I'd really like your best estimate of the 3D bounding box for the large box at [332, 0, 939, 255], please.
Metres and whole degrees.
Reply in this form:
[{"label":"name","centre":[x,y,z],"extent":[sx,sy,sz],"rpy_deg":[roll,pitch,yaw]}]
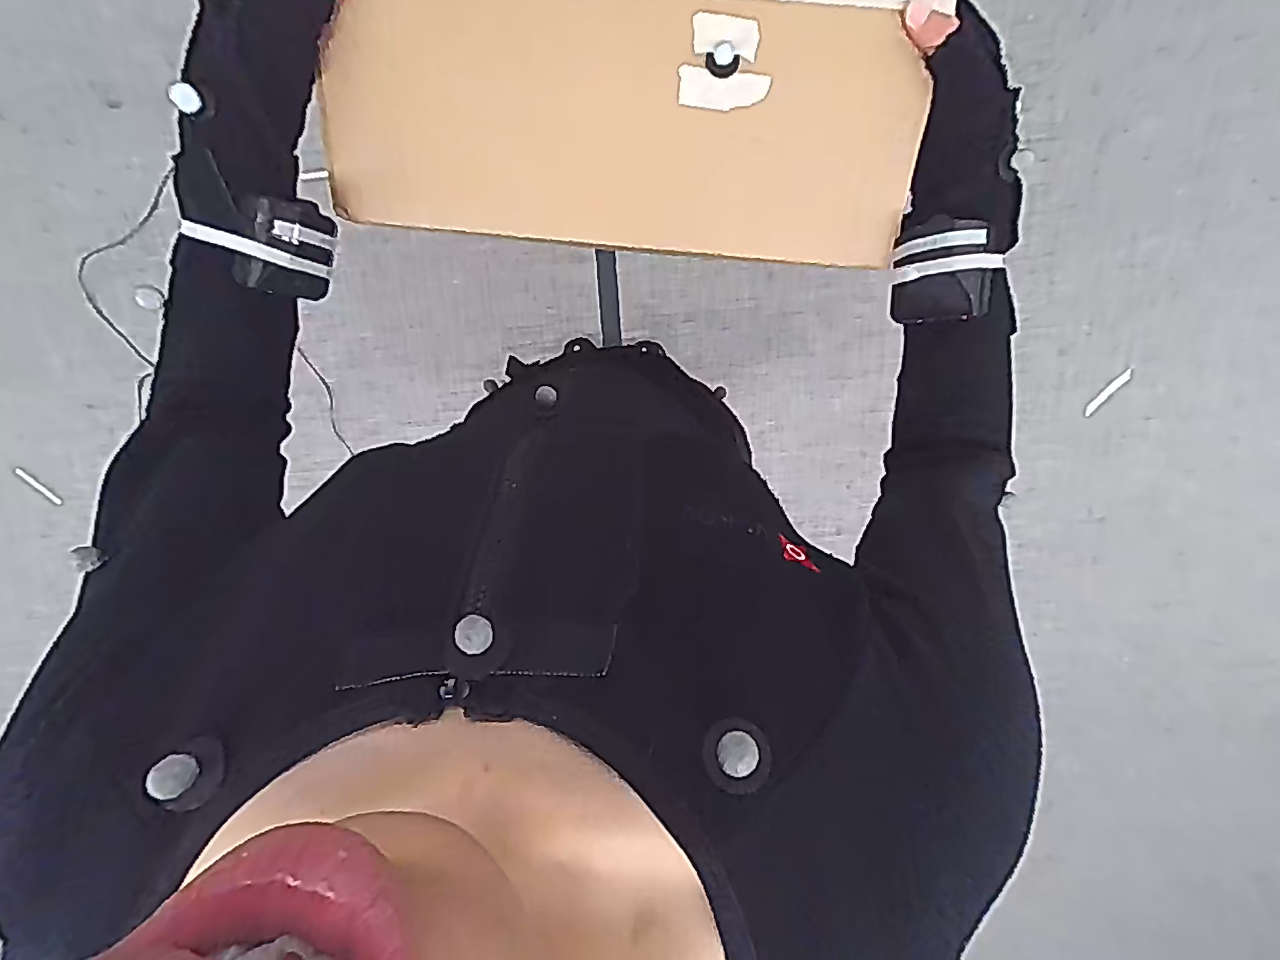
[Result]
[{"label":"large box","centre":[-0.001,-0.382,0.485],"extent":[0.408,0.320,0.320],"rpy_deg":[5,113,0]}]
